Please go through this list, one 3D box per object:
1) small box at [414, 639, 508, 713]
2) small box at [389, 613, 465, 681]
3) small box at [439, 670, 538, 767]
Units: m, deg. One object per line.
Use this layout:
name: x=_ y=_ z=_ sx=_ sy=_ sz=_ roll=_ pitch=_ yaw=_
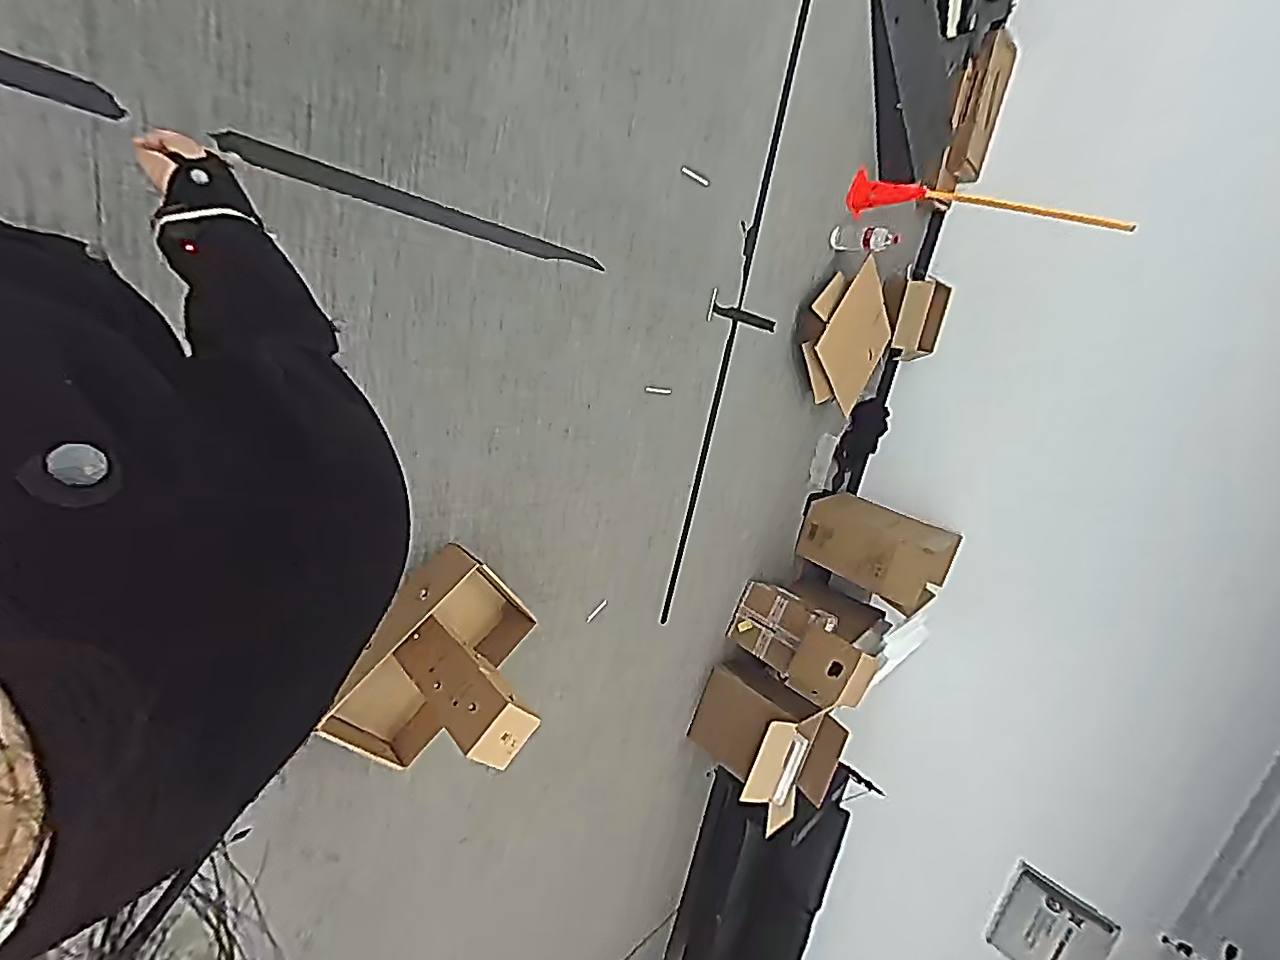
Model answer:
small box: x=-0.540 y=0.605 z=1.628 sx=0.168 sy=0.176 sz=0.179 roll=-49 pitch=139 yaw=-16
small box: x=-0.658 y=0.555 z=1.728 sx=0.168 sy=0.176 sz=0.179 roll=-47 pitch=137 yaw=-20
small box: x=-0.429 y=0.663 z=1.520 sx=0.168 sy=0.176 sz=0.179 roll=-49 pitch=138 yaw=-16
